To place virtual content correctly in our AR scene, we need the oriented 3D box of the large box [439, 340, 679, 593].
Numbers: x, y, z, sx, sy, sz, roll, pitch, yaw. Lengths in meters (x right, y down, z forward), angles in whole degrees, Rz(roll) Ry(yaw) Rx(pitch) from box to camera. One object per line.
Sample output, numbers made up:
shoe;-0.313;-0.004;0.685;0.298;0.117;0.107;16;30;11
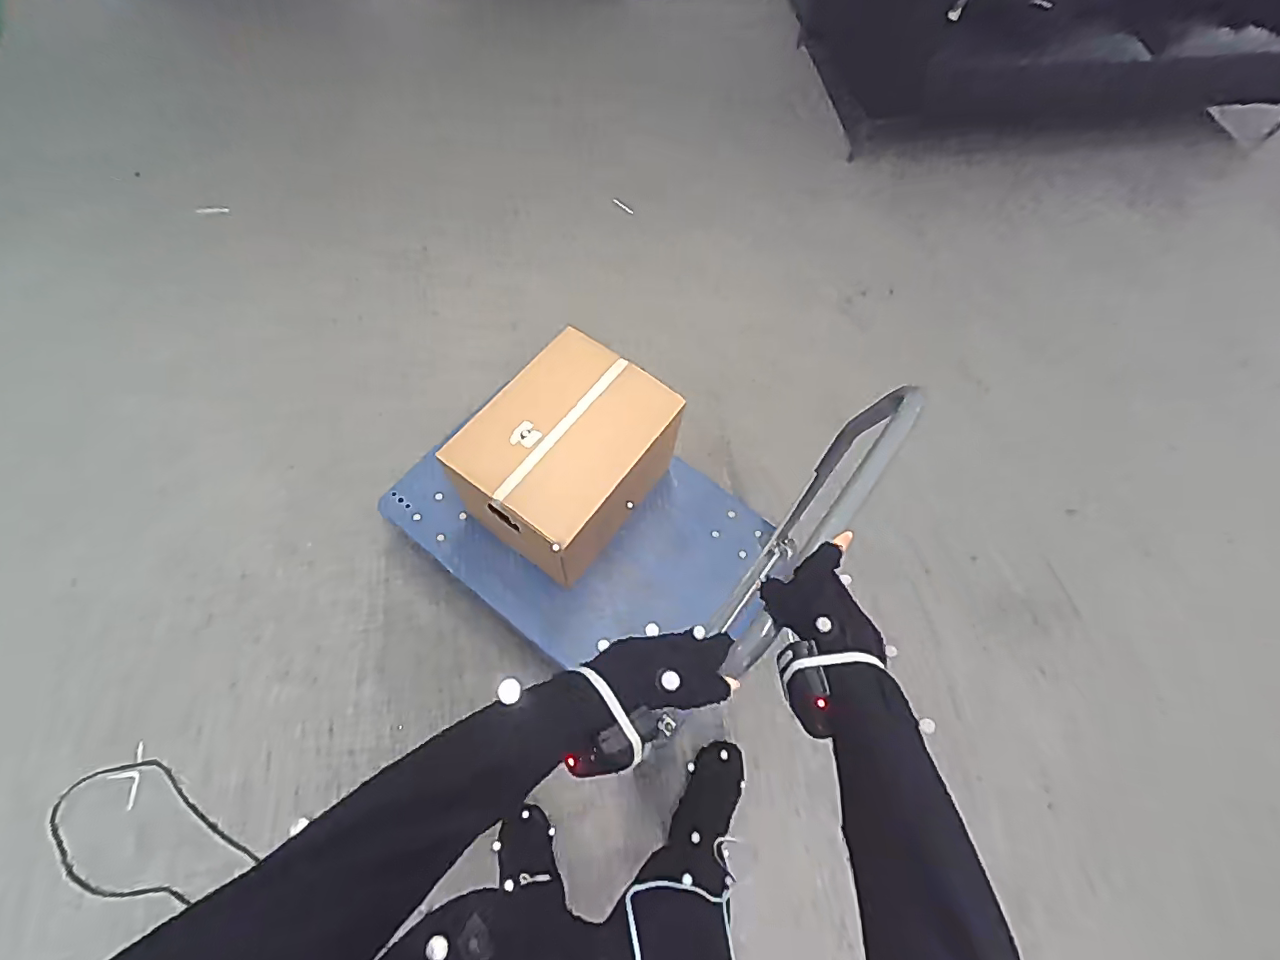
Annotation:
large box;-0.160;-0.021;1.210;0.320;0.320;0.408;34;67;12
